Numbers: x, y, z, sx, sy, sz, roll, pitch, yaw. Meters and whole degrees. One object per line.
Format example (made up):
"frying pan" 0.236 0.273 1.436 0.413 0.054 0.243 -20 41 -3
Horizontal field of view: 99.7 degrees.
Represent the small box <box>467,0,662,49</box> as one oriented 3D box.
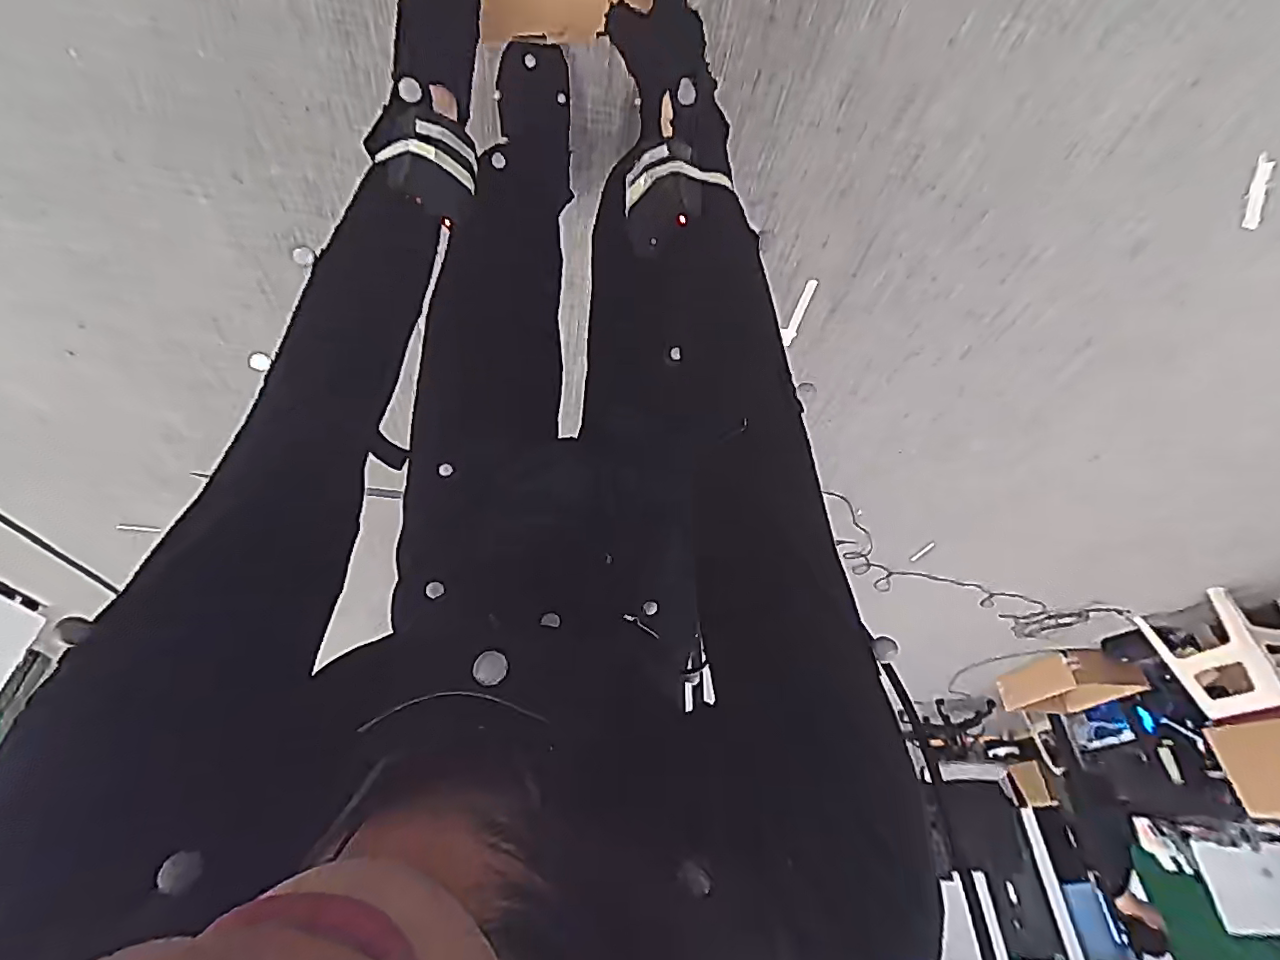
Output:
"small box" -0.065 -0.494 0.467 0.168 0.176 0.179 -3 131 1
